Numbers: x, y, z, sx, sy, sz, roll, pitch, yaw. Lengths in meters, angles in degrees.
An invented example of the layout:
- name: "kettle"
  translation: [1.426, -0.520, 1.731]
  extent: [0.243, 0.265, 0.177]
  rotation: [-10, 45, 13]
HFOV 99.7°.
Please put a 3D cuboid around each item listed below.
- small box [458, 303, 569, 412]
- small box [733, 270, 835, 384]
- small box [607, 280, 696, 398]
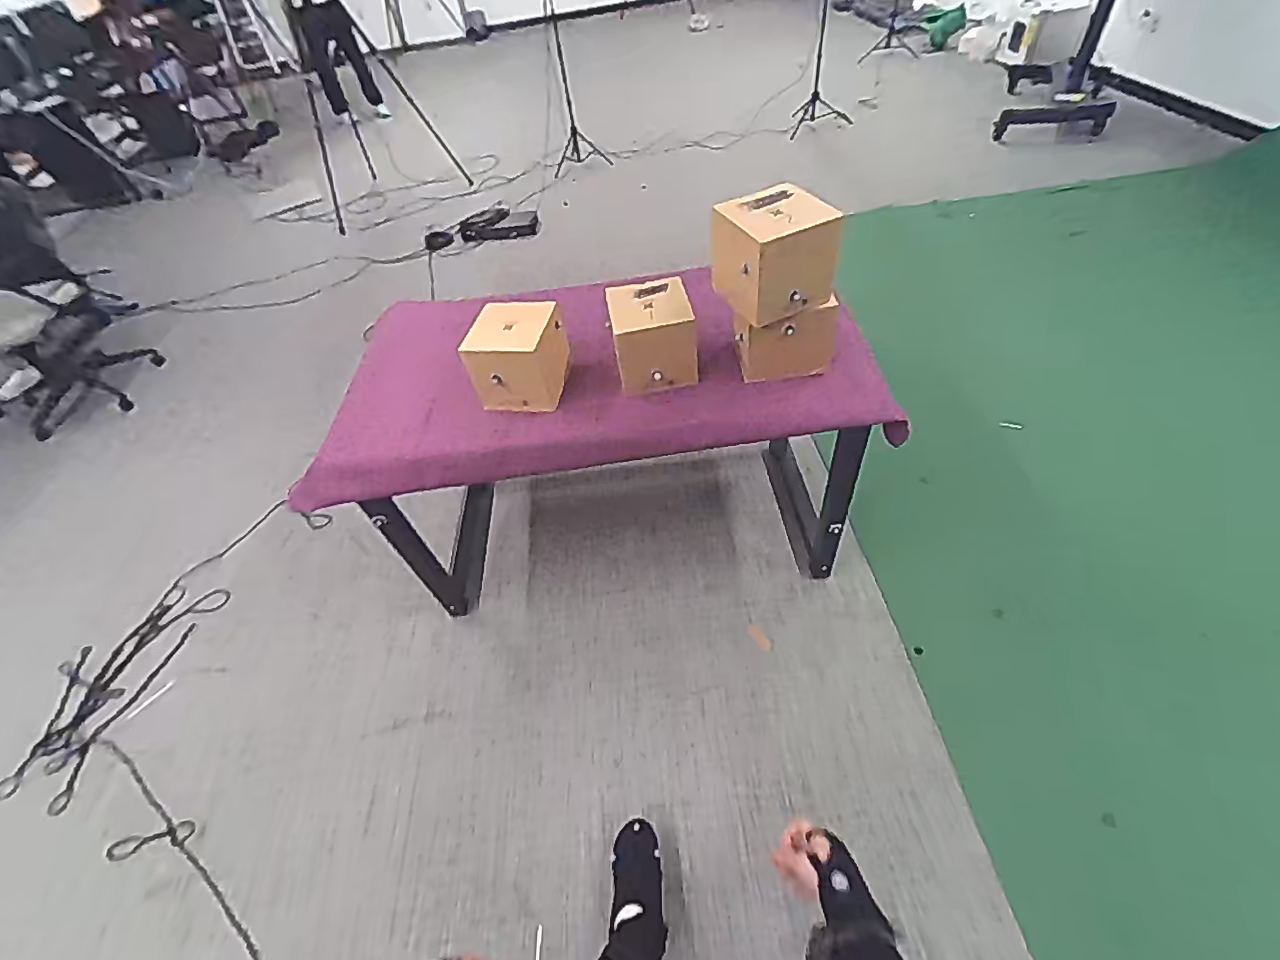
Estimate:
- name: "small box"
  translation: [-0.263, -0.263, 1.176]
  extent: [0.168, 0.176, 0.179]
  rotation: [3, 49, 11]
- name: "small box"
  translation: [0.295, -0.319, 1.144]
  extent: [0.179, 0.176, 0.168]
  rotation: [-6, 48, 3]
- name: "small box"
  translation: [0.025, -0.304, 1.169]
  extent: [0.168, 0.176, 0.179]
  rotation: [-10, 49, 0]
